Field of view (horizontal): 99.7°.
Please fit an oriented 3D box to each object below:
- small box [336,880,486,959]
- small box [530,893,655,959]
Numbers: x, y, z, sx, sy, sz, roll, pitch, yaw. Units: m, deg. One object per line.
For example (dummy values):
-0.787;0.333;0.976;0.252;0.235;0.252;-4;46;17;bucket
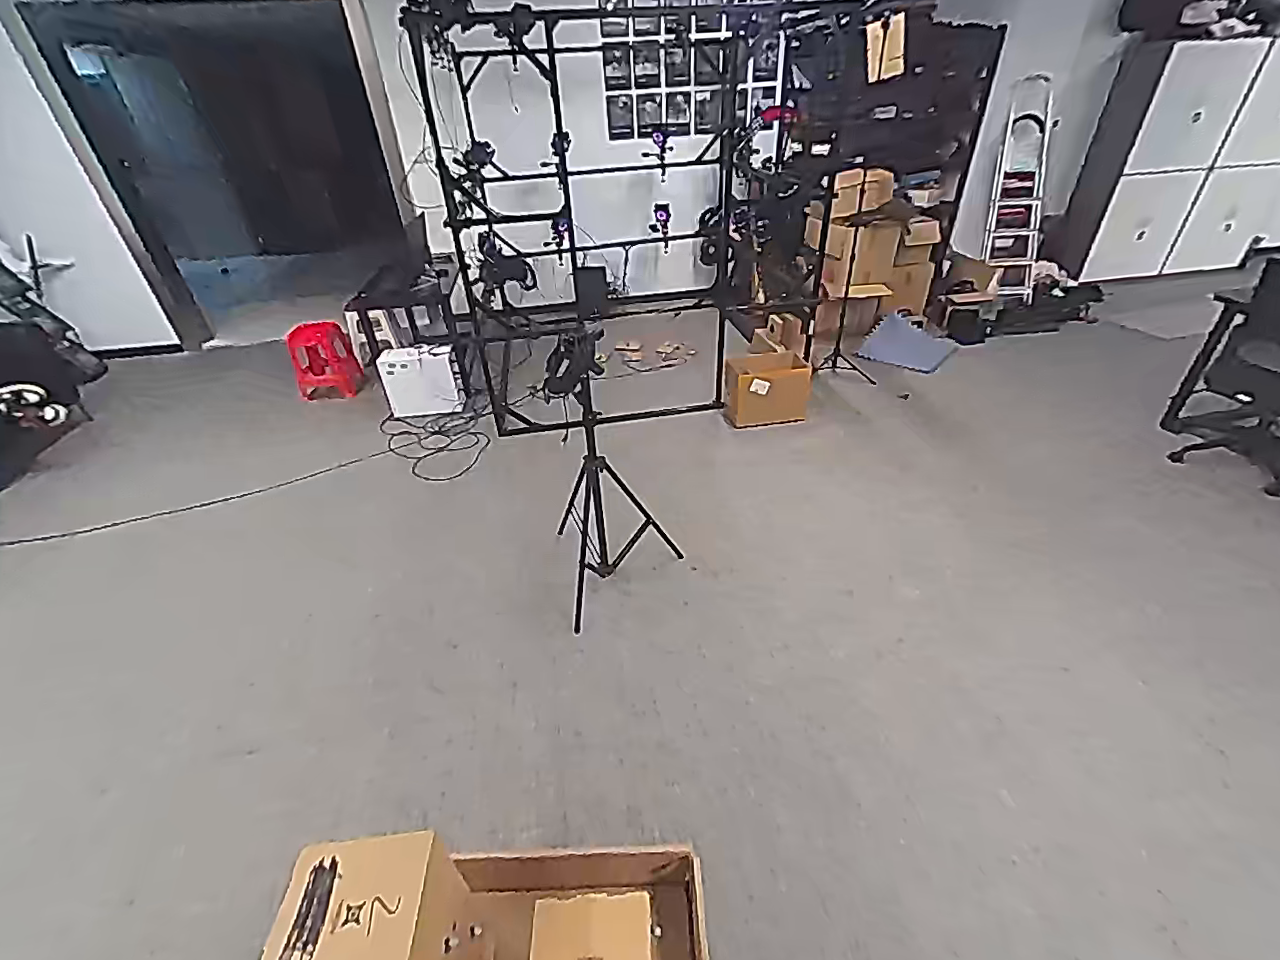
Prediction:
-0.328;0.719;0.775;0.168;0.176;0.179;-7;34;-2;small box
-0.062;0.719;0.757;0.168;0.176;0.179;-4;33;-1;small box
